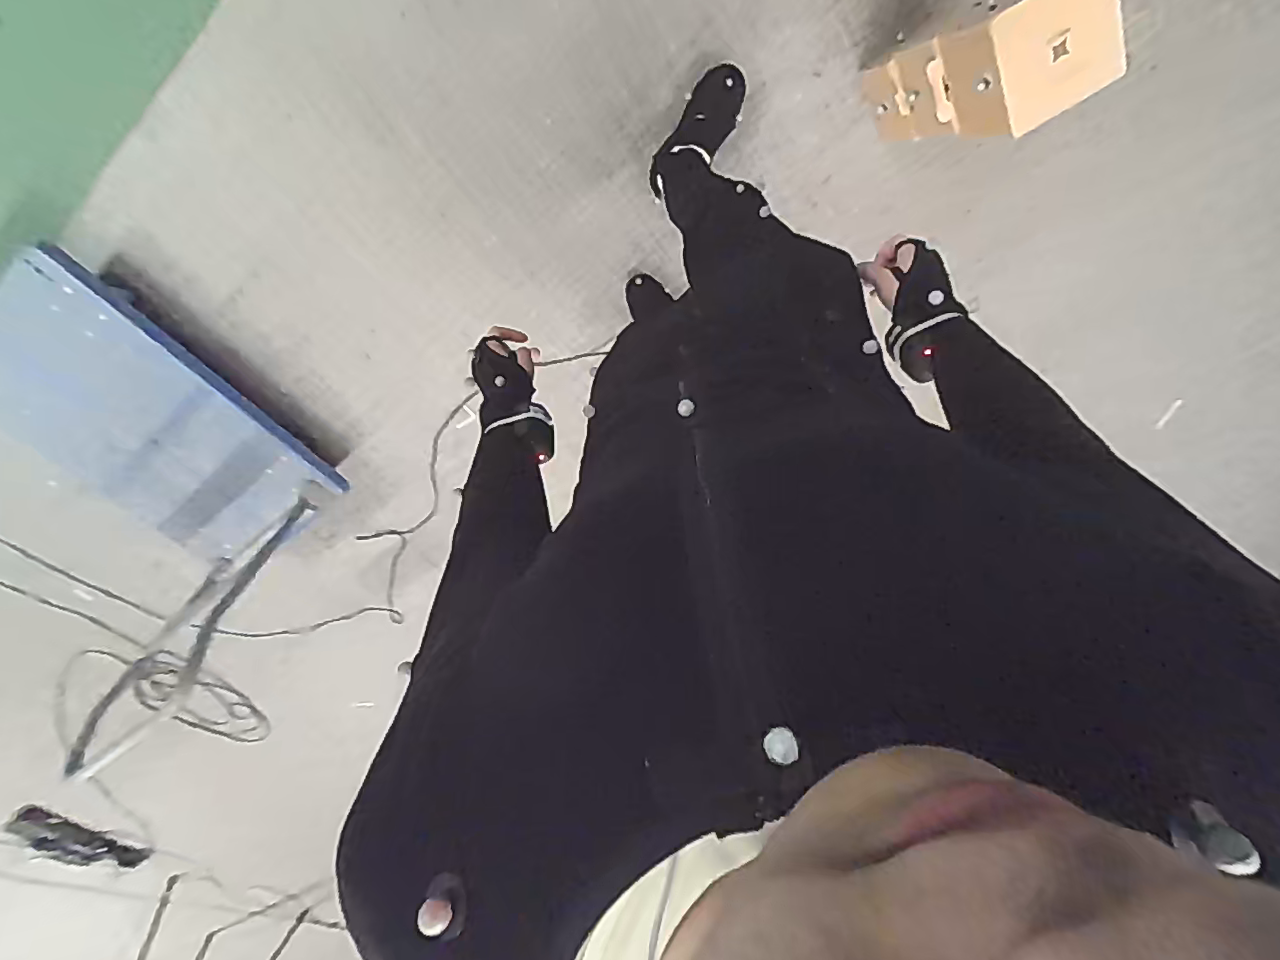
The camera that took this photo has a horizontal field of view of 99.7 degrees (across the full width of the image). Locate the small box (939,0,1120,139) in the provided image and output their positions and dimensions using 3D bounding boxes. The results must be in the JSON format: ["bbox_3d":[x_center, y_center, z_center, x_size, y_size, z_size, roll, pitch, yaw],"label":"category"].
[{"bbox_3d":[0.614,-0.680,0.869,0.168,0.176,0.179,-26,118,15],"label":"small box"}]

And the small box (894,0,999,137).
[{"bbox_3d":[0.609,-0.770,1.006,0.179,0.176,0.168,-26,117,15],"label":"small box"}]

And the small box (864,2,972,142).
[{"bbox_3d":[0.600,-0.851,1.149,0.179,0.176,0.168,-30,117,17],"label":"small box"}]
